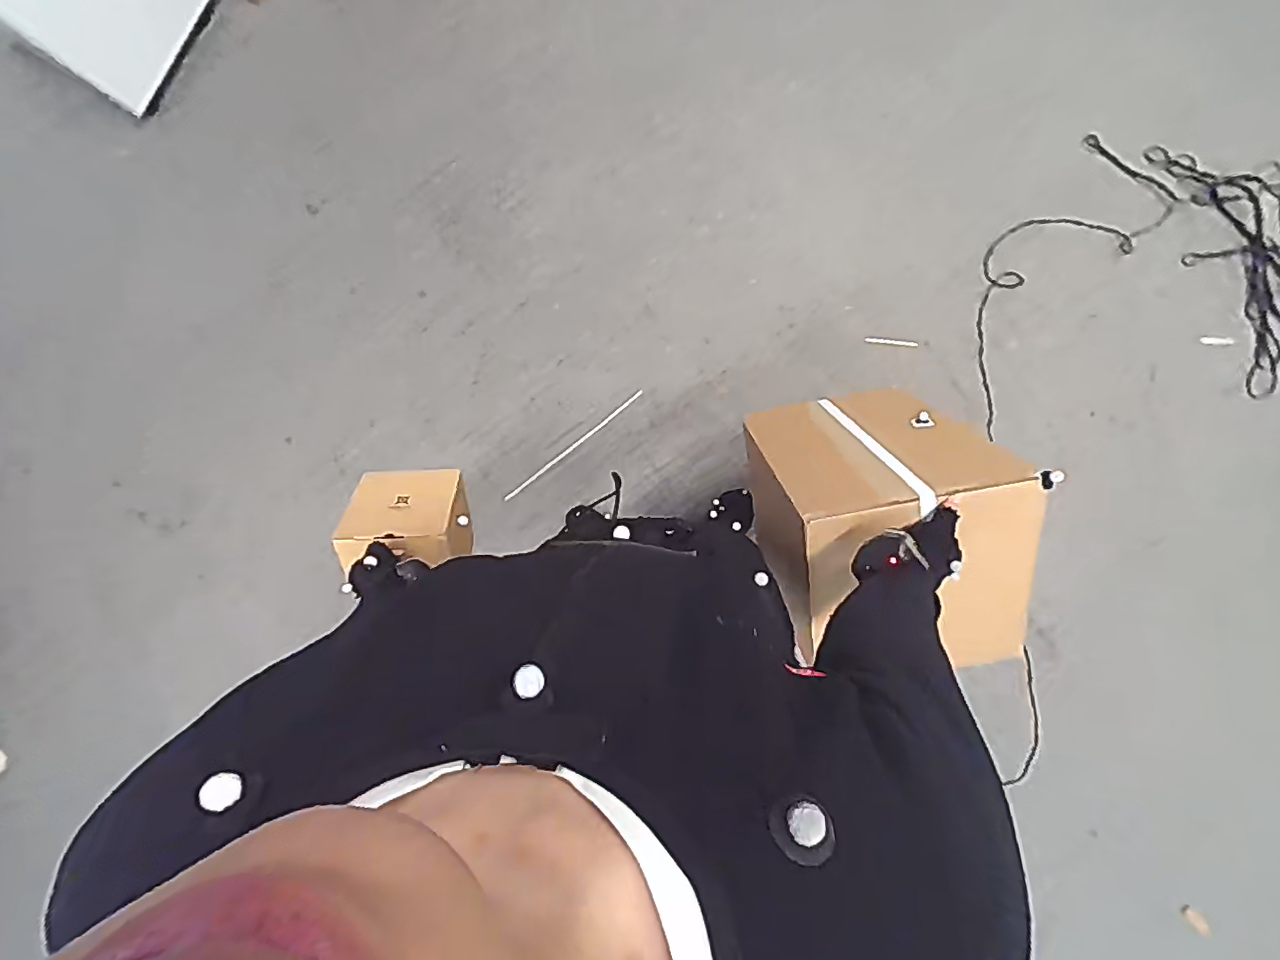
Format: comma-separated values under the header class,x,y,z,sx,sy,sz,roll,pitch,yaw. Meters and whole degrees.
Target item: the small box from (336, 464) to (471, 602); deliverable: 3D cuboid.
class,x,y,z,sx,sy,sz,roll,pitch,yaw
small box,-0.393,0.089,0.934,0.168,0.179,0.176,-2,128,-7
